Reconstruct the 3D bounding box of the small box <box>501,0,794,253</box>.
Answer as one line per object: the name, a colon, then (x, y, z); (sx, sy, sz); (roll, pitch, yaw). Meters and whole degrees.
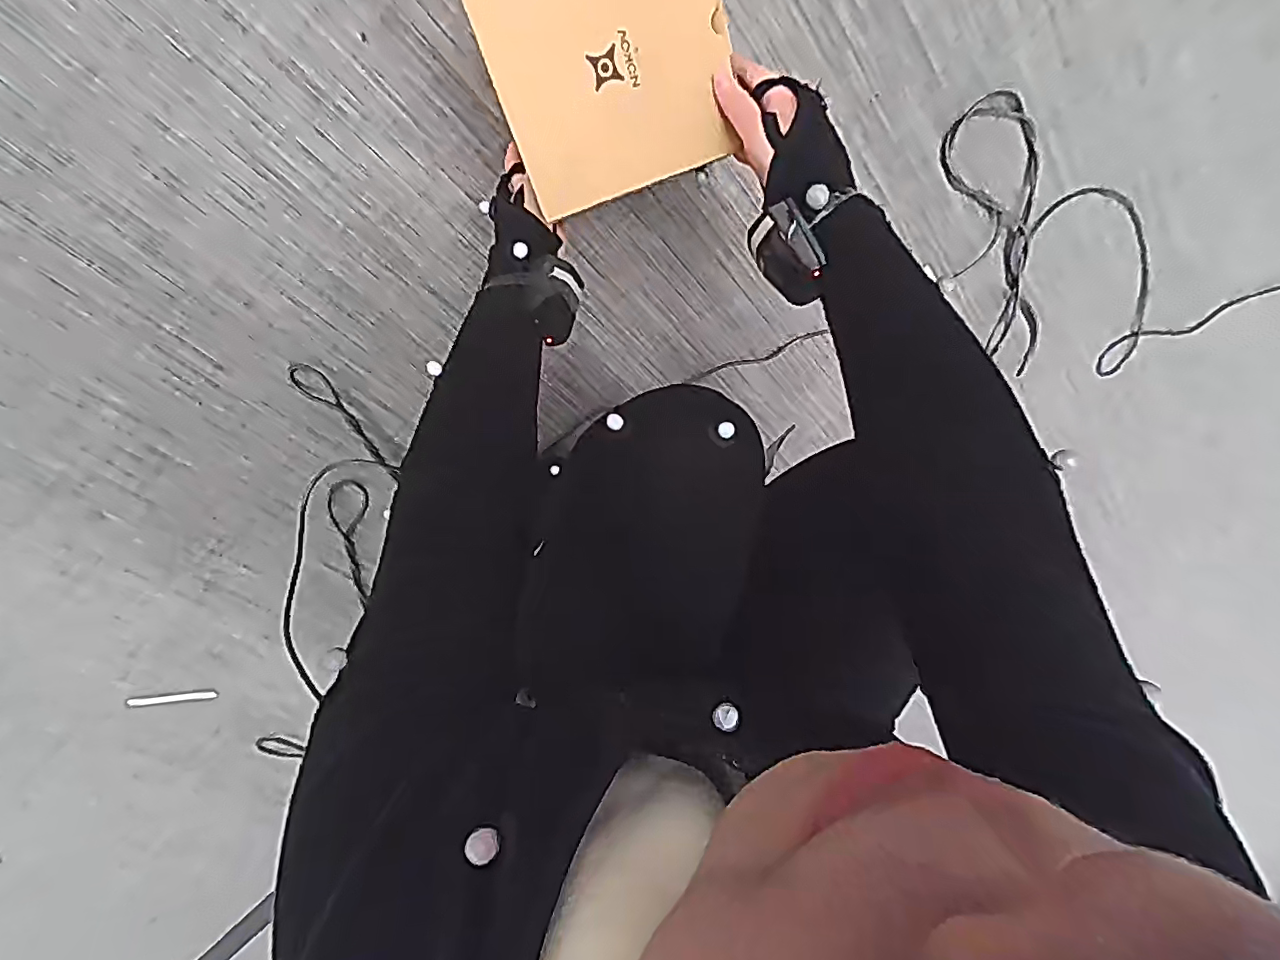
small box: (-0.004, -0.320, 0.431); (0.168, 0.176, 0.179); (-26, 99, -10)
